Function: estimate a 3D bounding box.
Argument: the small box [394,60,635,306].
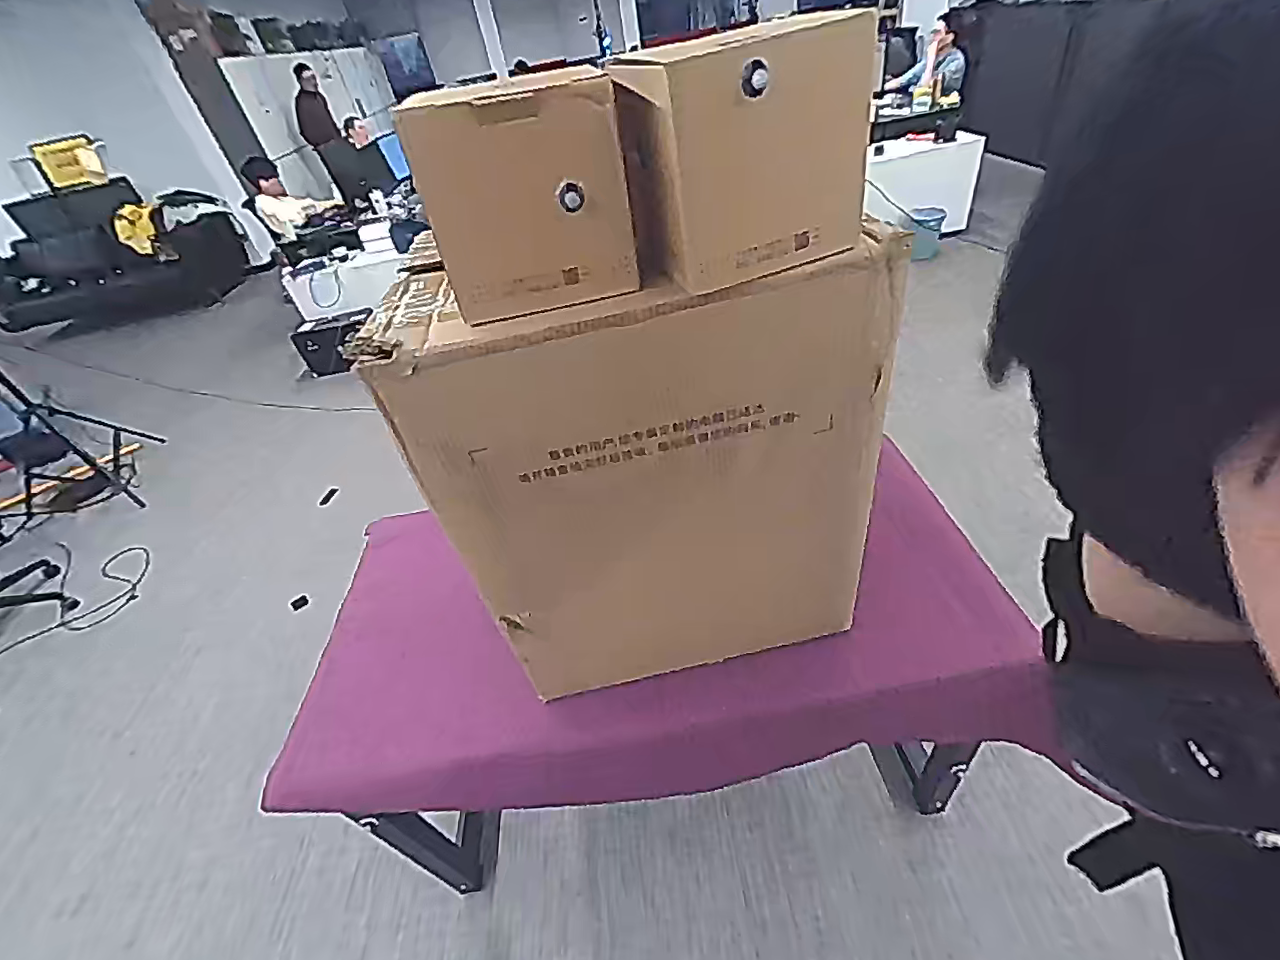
[{"bbox_3d":[-0.105,-0.276,0.510,0.168,0.176,0.179,-12,38,-4],"label":"small box"}]

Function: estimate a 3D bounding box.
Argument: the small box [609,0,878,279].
[{"bbox_3d":[0.084,-0.300,0.489,0.168,0.176,0.179,-19,39,-7],"label":"small box"}]
